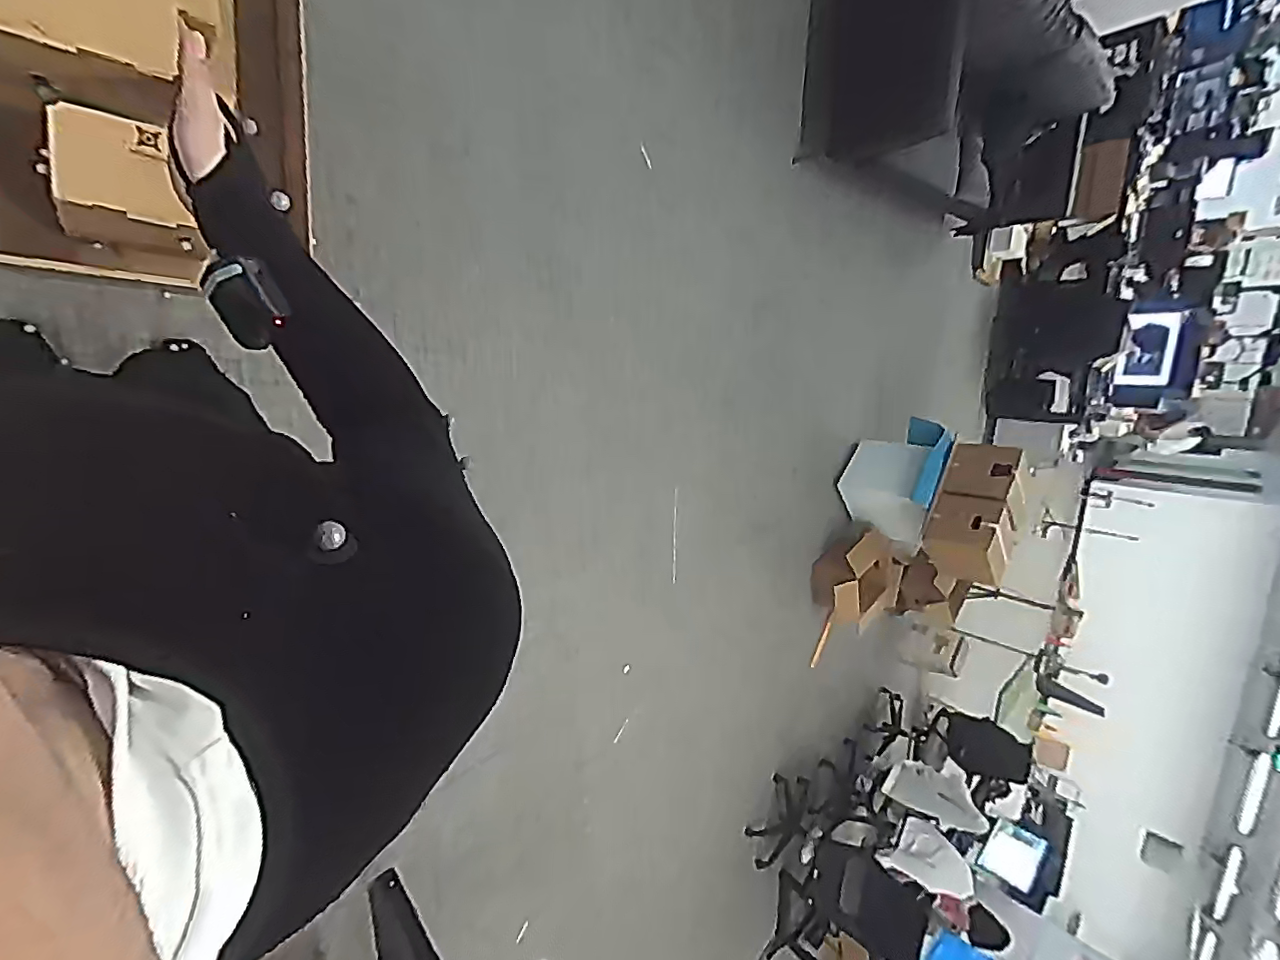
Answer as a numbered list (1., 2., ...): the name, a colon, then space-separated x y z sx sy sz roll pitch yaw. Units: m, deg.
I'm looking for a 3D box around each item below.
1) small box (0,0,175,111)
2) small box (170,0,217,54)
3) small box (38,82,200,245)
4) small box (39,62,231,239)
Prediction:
1. small box: -0.469 -0.418 0.404 0.168 0.176 0.179 -7 108 -43
2. small box: -0.622 -0.664 0.643 0.168 0.176 0.179 -5 106 -43
3. small box: -0.751 -0.461 0.796 0.168 0.176 0.179 -5 103 -43
4. small box: -0.635 -0.424 0.688 0.168 0.176 0.179 -2 101 -44
